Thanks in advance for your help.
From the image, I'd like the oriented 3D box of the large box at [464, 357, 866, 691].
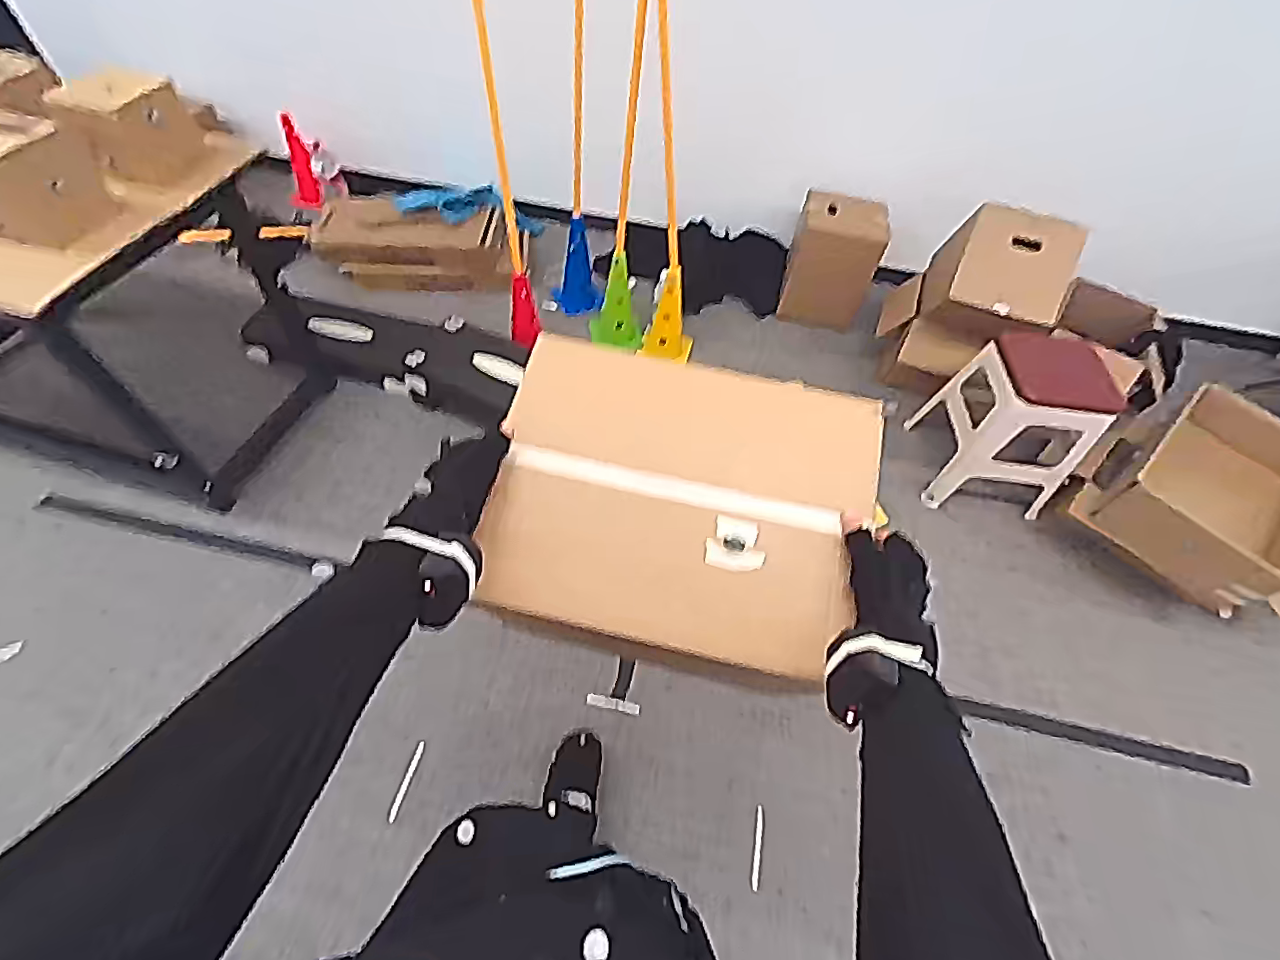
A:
[{"bbox_3d":[0.038,0.081,0.733,0.408,0.320,0.320,13,69,4],"label":"large box"}]
